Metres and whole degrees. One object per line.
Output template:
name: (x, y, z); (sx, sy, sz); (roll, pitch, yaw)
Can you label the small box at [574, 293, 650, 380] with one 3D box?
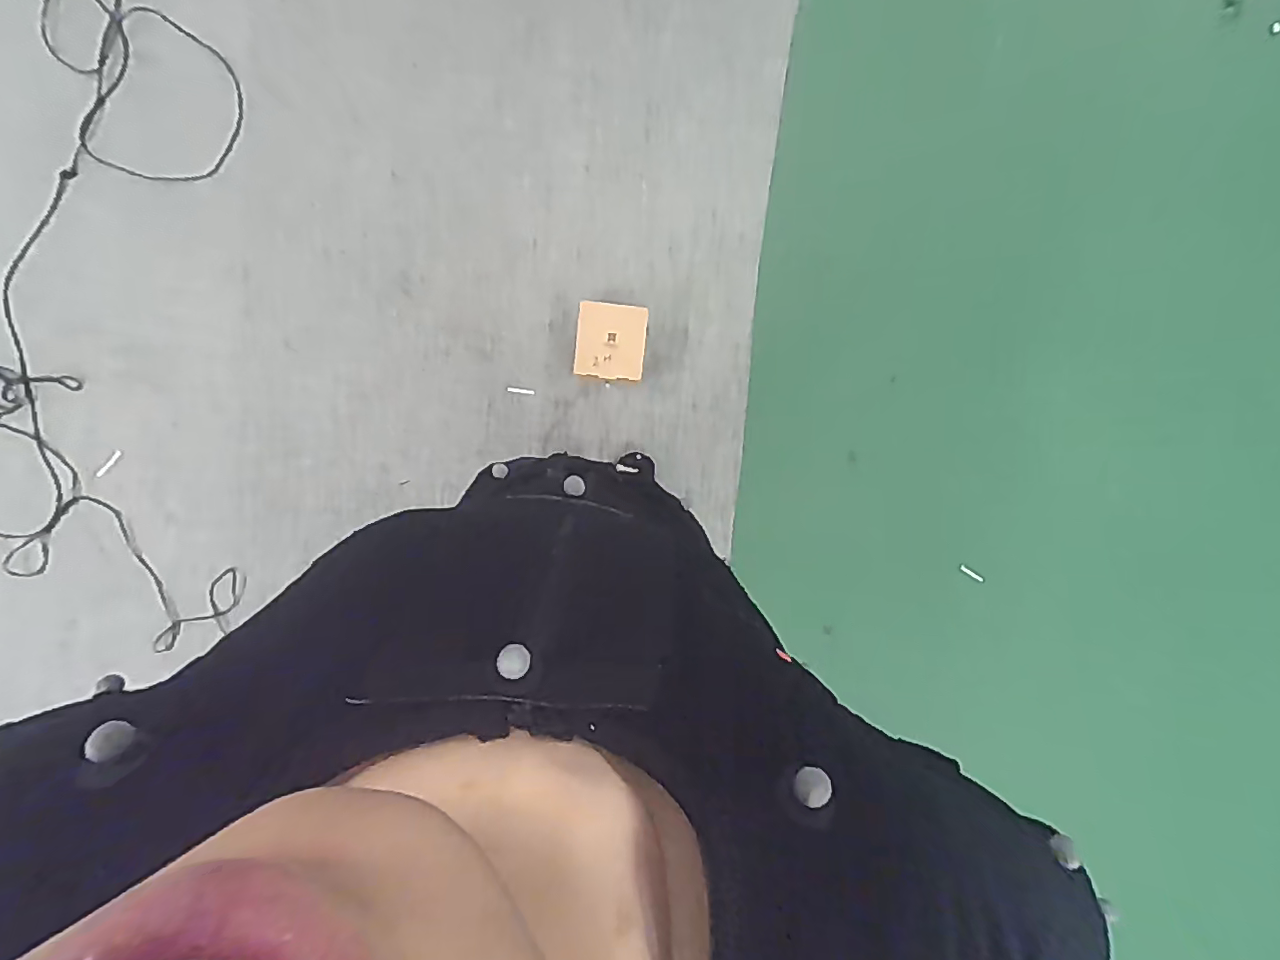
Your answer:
small box: (-0.071, -0.355, 1.368); (0.168, 0.176, 0.179); (6, 96, -2)
